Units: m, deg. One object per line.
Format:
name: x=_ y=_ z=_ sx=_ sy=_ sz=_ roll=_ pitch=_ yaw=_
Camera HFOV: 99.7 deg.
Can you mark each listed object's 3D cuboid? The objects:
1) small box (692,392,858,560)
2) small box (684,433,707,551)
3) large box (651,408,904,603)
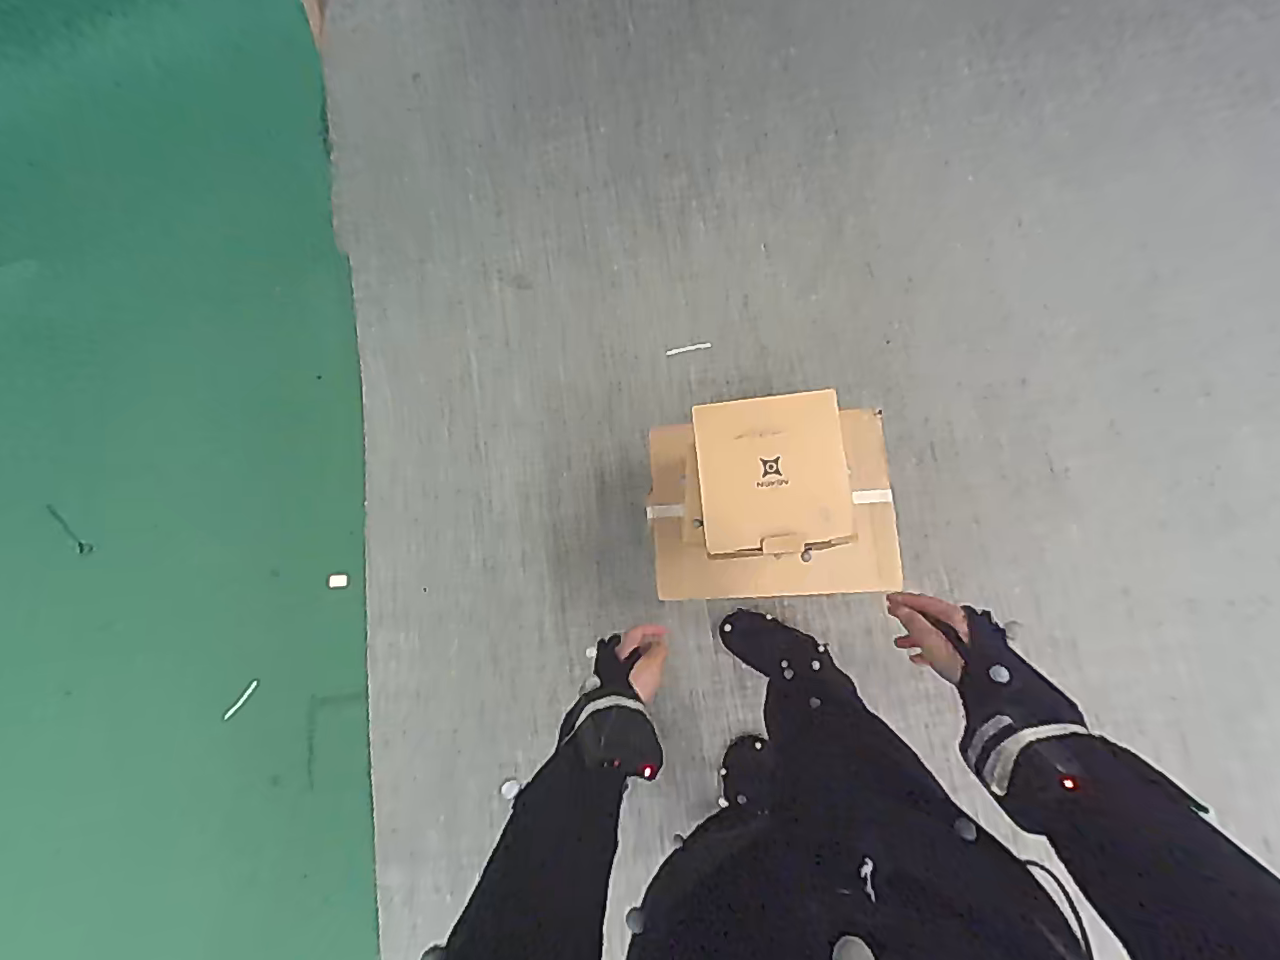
small box: x=0.159 y=0.007 z=0.682 sx=0.168 sy=0.176 sz=0.179 roll=-7 pitch=77 yaw=6
small box: x=0.165 y=0.028 z=0.843 sx=0.179 sy=0.176 sz=0.168 roll=1 pitch=80 yaw=8
large box: x=0.243 y=0.068 z=1.073 sx=0.408 sy=0.320 sz=0.320 roll=-4 pitch=80 yaw=7
